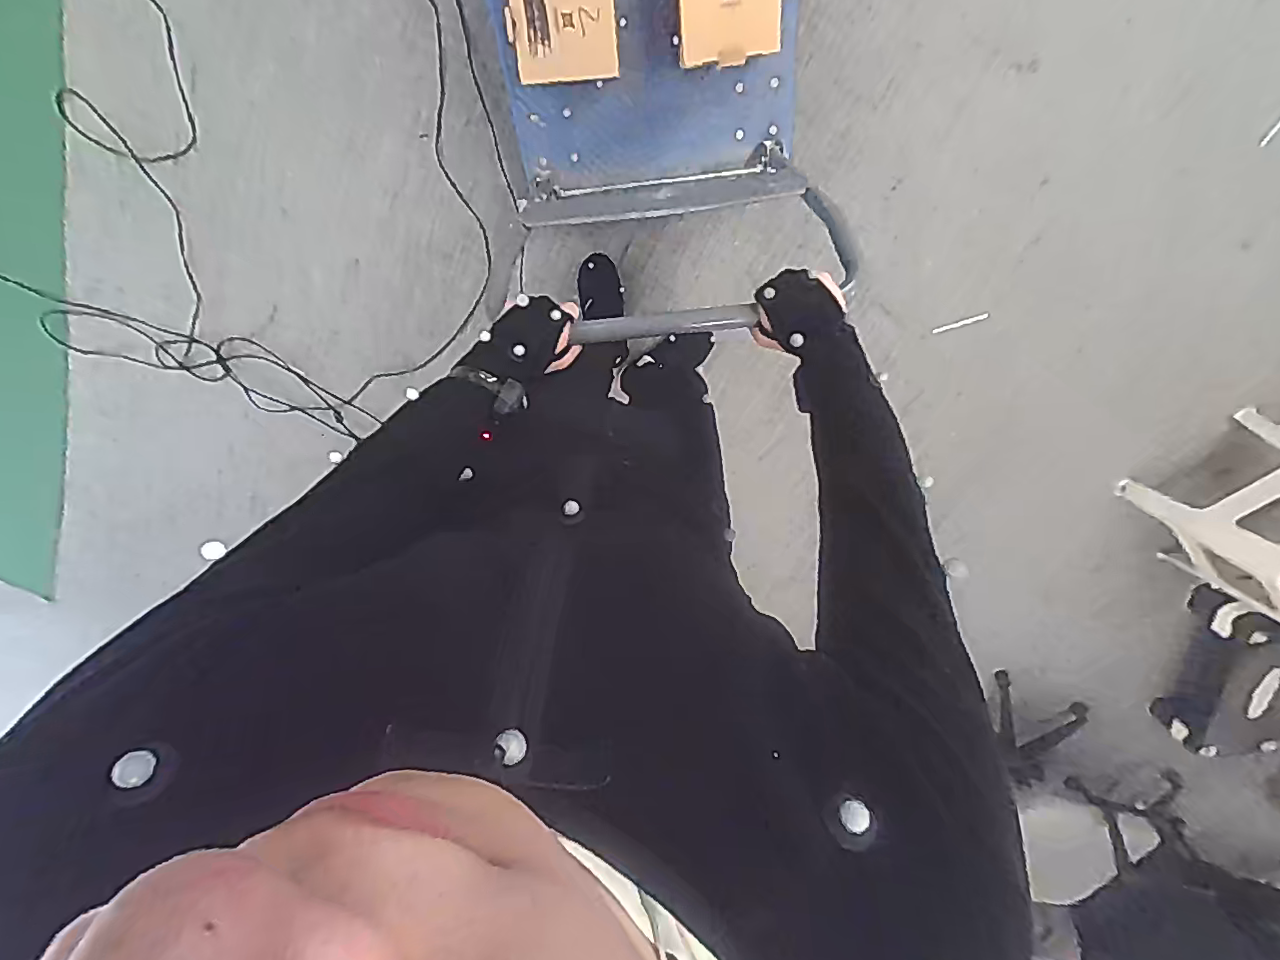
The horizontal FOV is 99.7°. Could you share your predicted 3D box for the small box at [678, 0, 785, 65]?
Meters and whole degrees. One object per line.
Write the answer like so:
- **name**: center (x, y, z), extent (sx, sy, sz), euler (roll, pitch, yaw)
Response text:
- **small box**: center (0.151, -0.835, 0.931), extent (0.168, 0.176, 0.179), euler (-6, 128, 5)
